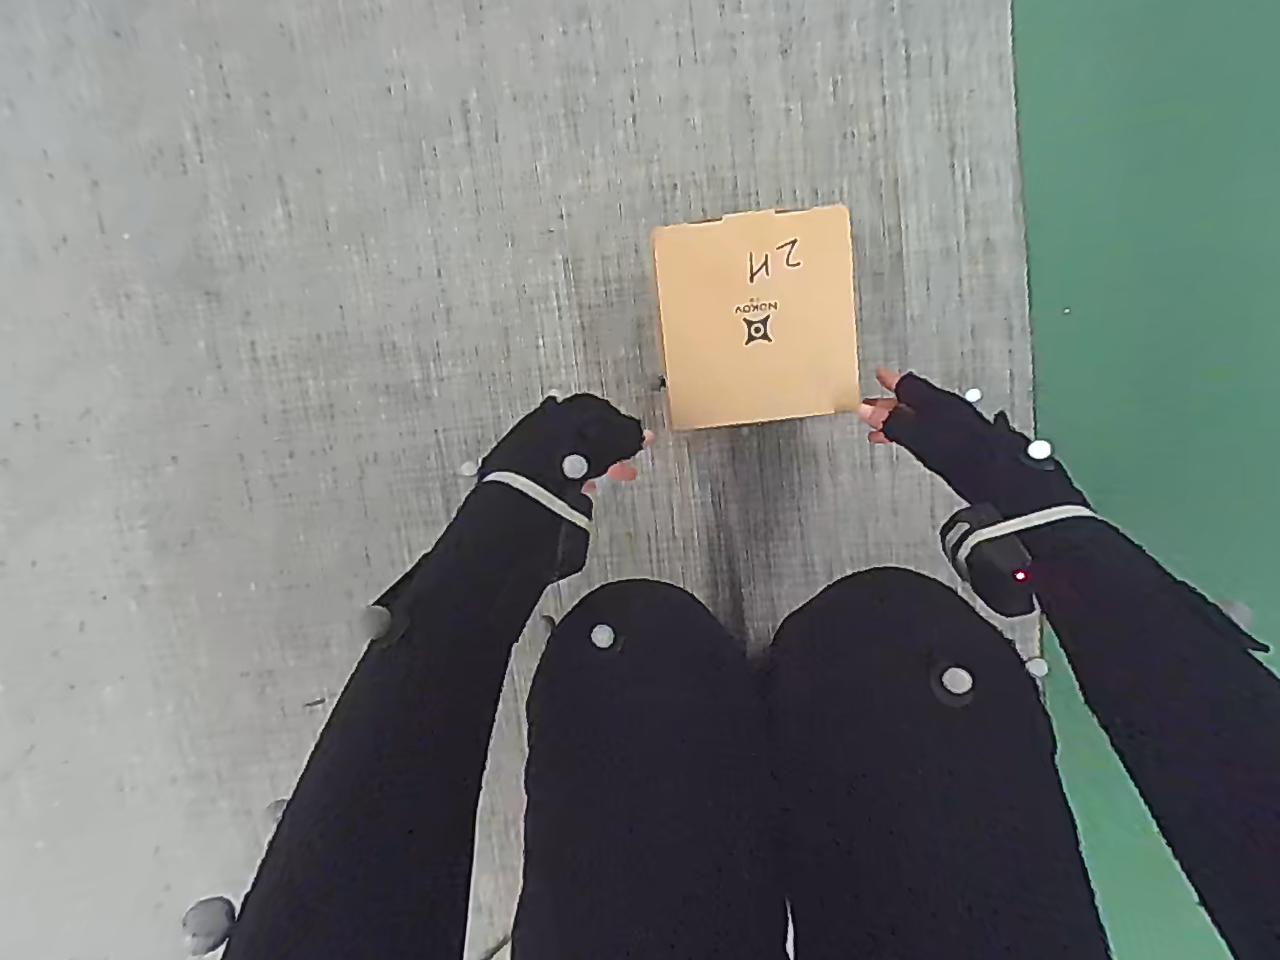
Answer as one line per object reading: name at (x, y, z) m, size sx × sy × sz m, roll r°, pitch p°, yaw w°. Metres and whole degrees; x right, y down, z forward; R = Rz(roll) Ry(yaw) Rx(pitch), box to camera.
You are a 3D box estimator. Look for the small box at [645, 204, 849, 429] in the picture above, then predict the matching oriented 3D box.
small box at (0.096, -0.147, 0.542) m, size 0.168 × 0.176 × 0.179 m, roll -6°, pitch 96°, yaw 1°
